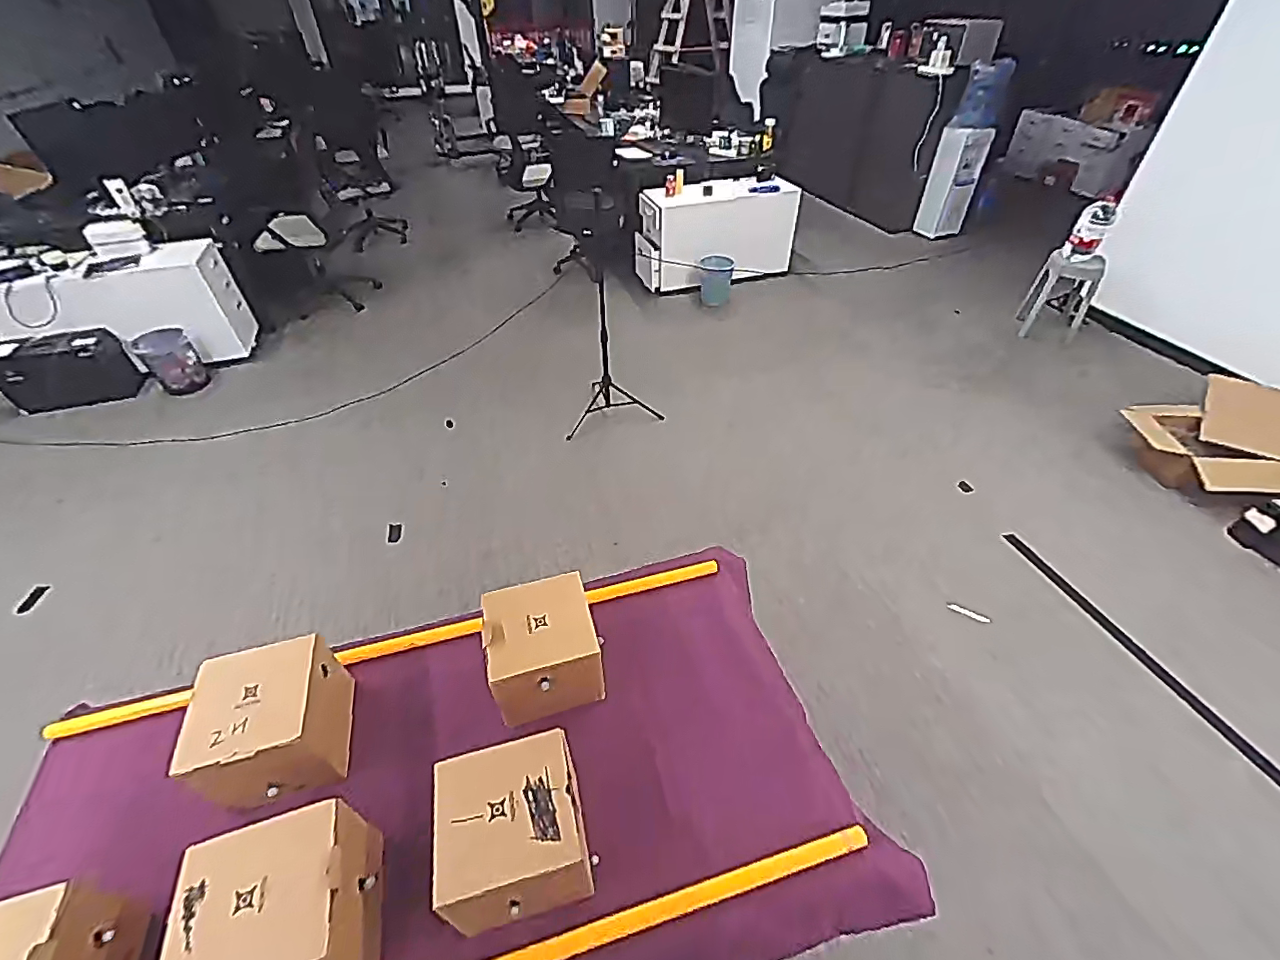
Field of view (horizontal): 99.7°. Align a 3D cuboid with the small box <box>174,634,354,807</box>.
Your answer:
[{"bbox_3d":[-0.571,0.379,0.854,0.168,0.176,0.179,-12,45,-11],"label":"small box"}]

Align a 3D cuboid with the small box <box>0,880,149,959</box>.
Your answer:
[{"bbox_3d":[-0.724,0.598,0.616,0.179,0.176,0.168,-11,43,-14],"label":"small box"}]

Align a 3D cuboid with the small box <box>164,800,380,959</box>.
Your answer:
[{"bbox_3d":[-0.441,0.539,0.677,0.179,0.176,0.168,-13,44,-13],"label":"small box"}]

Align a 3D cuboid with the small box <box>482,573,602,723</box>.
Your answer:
[{"bbox_3d":[-0.165,0.293,0.940,0.179,0.176,0.168,-13,45,-11],"label":"small box"}]

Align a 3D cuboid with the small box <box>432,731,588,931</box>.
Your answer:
[{"bbox_3d":[-0.170,0.477,0.737,0.179,0.176,0.168,-11,42,-9],"label":"small box"}]
